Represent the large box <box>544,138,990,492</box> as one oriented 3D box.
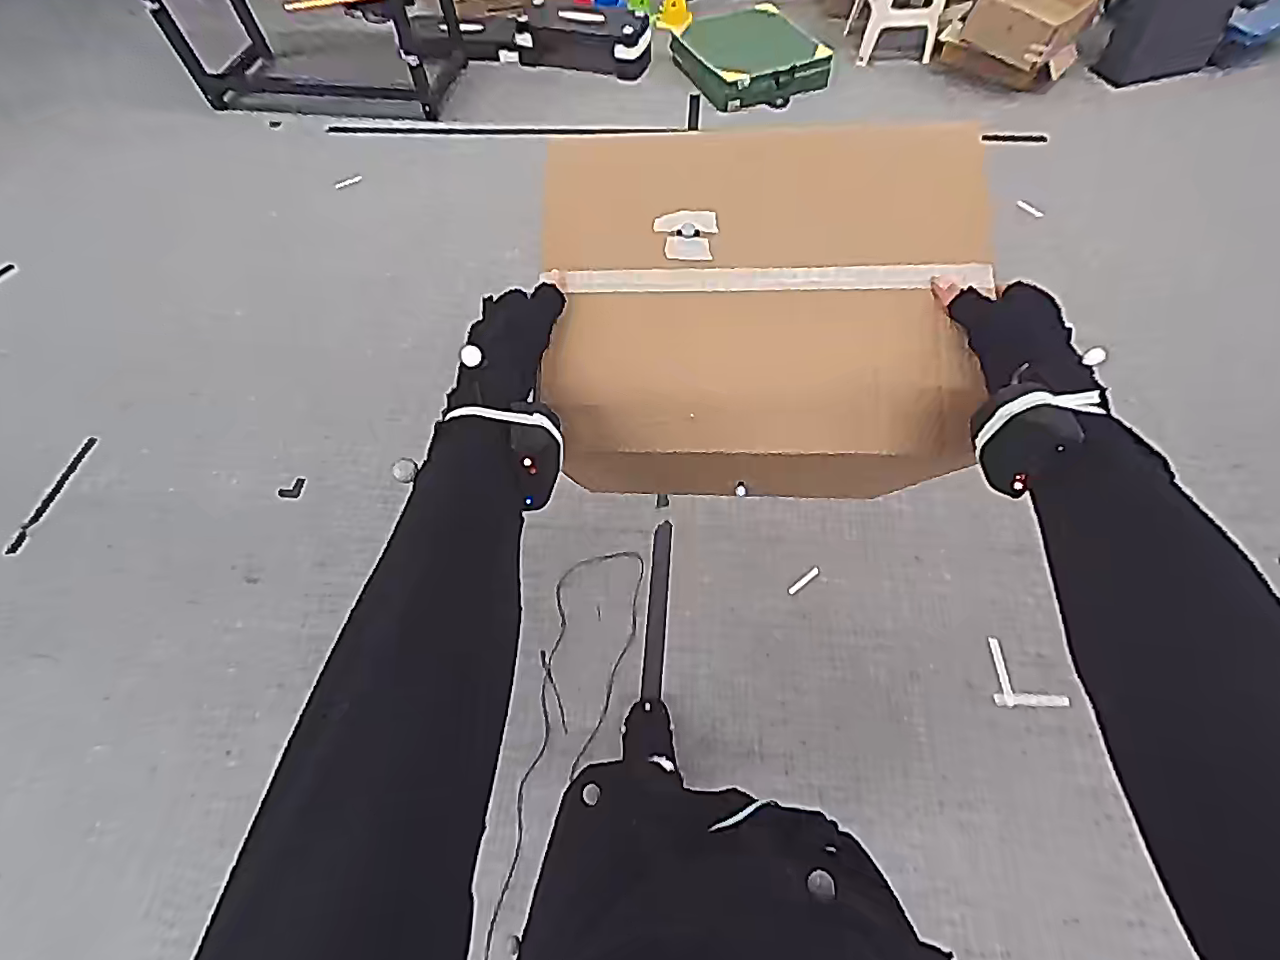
[{"bbox_3d":[0.124,-0.153,0.655,0.408,0.320,0.320,1,80,5],"label":"large box"}]
